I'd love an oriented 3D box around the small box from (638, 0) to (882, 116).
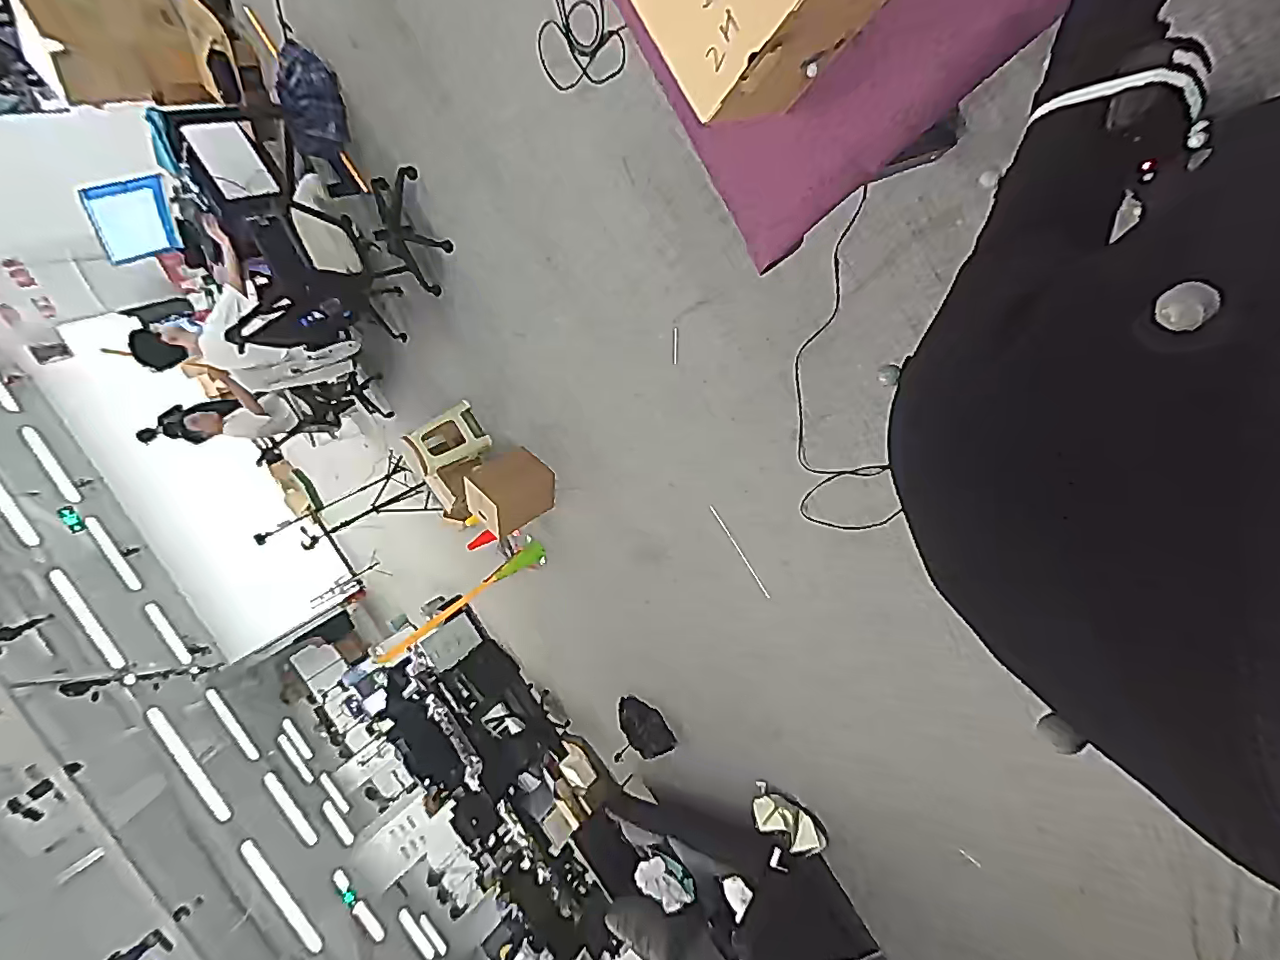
[{"bbox_3d":[0.127,-0.537,0.588,0.179,0.176,0.168,59,145,-4],"label":"small box"}]
